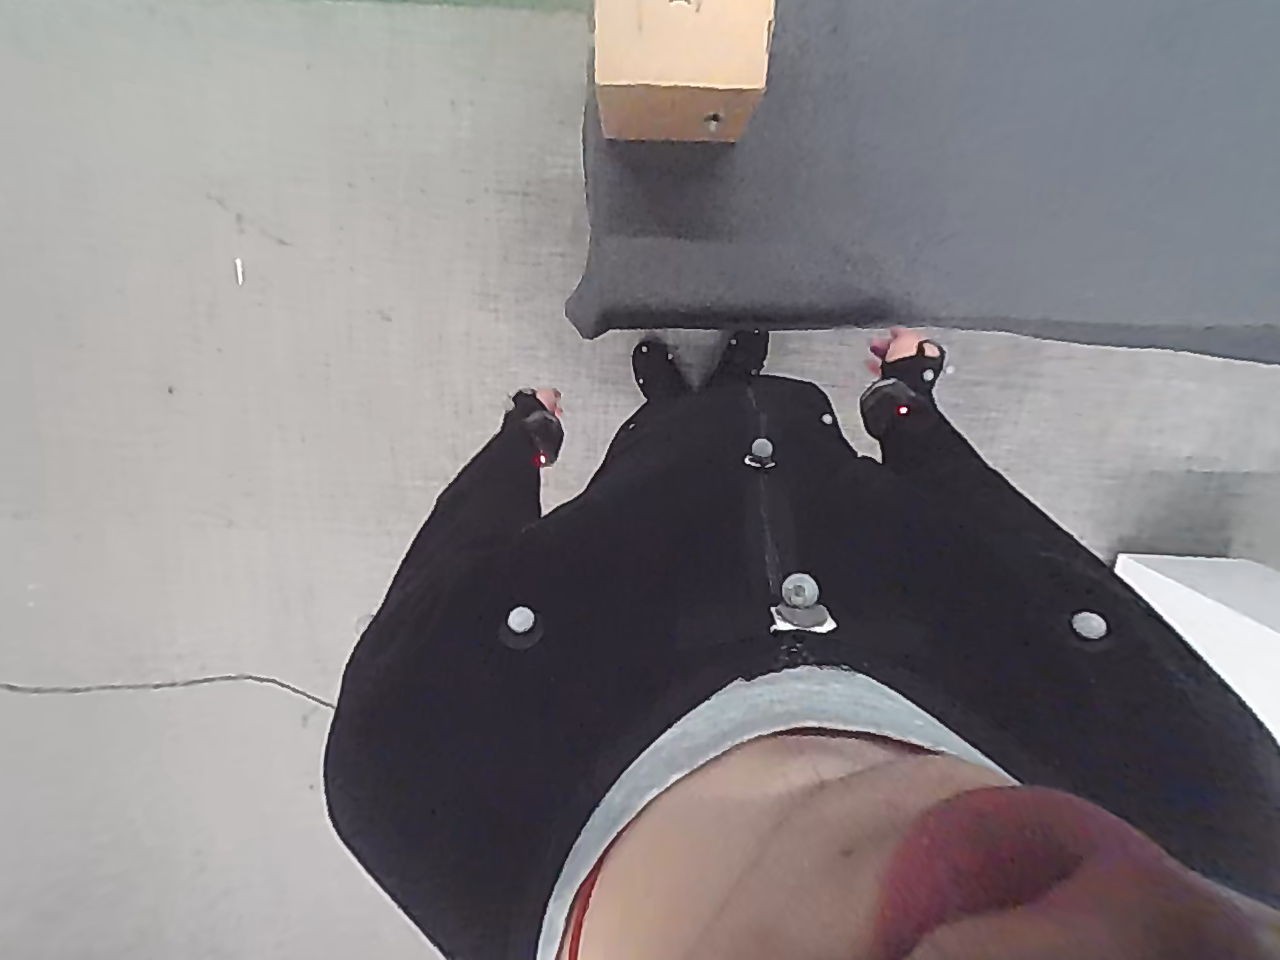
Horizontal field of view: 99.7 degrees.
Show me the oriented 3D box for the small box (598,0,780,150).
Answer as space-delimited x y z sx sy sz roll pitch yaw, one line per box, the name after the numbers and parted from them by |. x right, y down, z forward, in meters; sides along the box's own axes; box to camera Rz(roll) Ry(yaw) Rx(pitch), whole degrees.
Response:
0.043 -0.479 0.588 0.179 0.176 0.168 -1 104 -2 | small box
